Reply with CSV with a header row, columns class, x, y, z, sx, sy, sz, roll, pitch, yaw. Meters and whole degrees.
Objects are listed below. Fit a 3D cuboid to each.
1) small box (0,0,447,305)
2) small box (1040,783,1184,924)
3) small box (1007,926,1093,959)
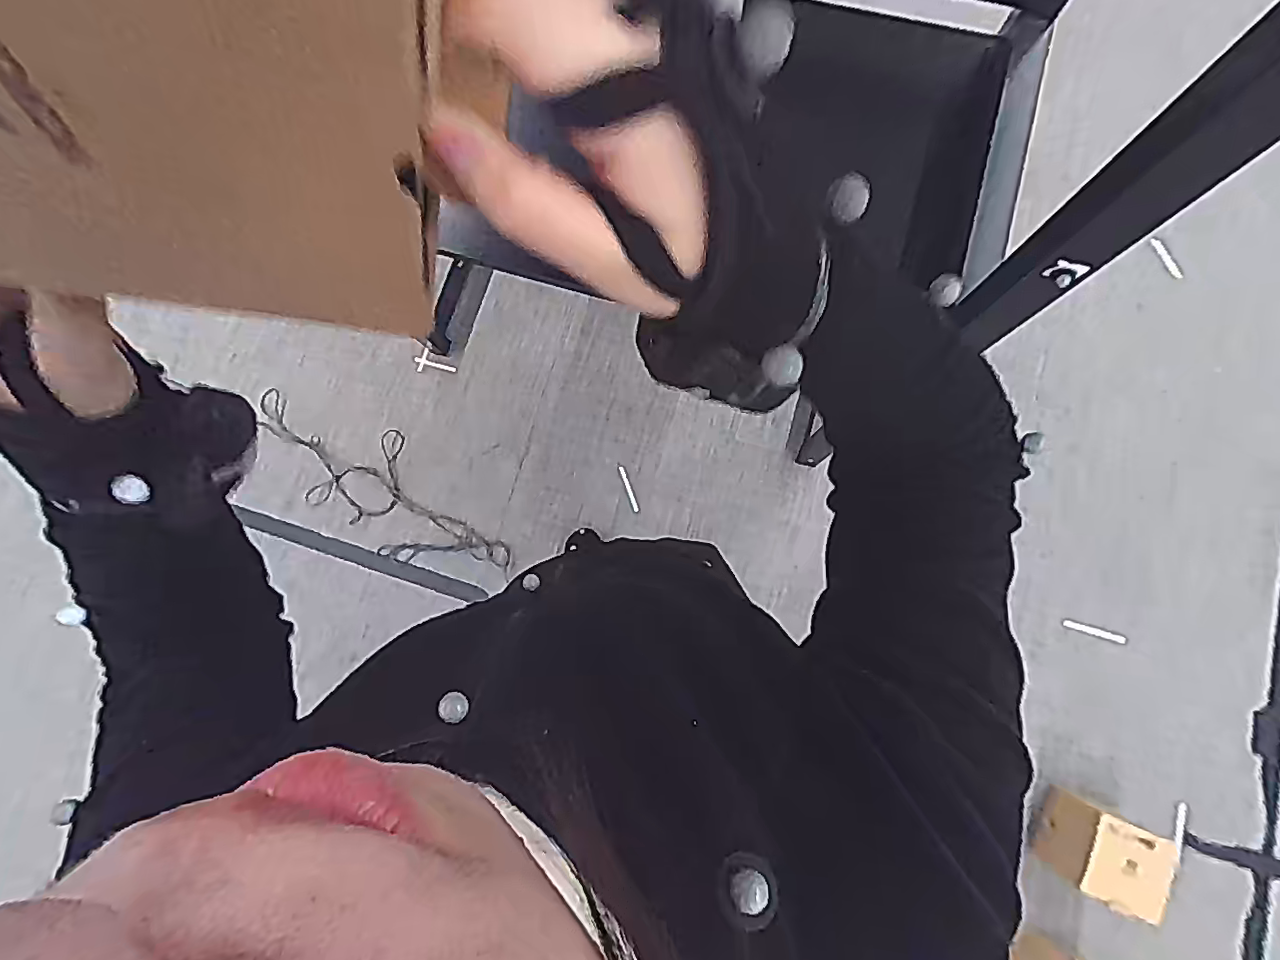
class,x,y,z,sx,sy,sz,roll,pitch,yaw
small box,-0.125,-0.161,0.099,0.179,0.168,0.176,5,76,-21
small box,1.069,0.844,1.241,0.168,0.176,0.179,22,84,7
small box,0.946,1.150,1.202,0.179,0.176,0.168,22,83,6
